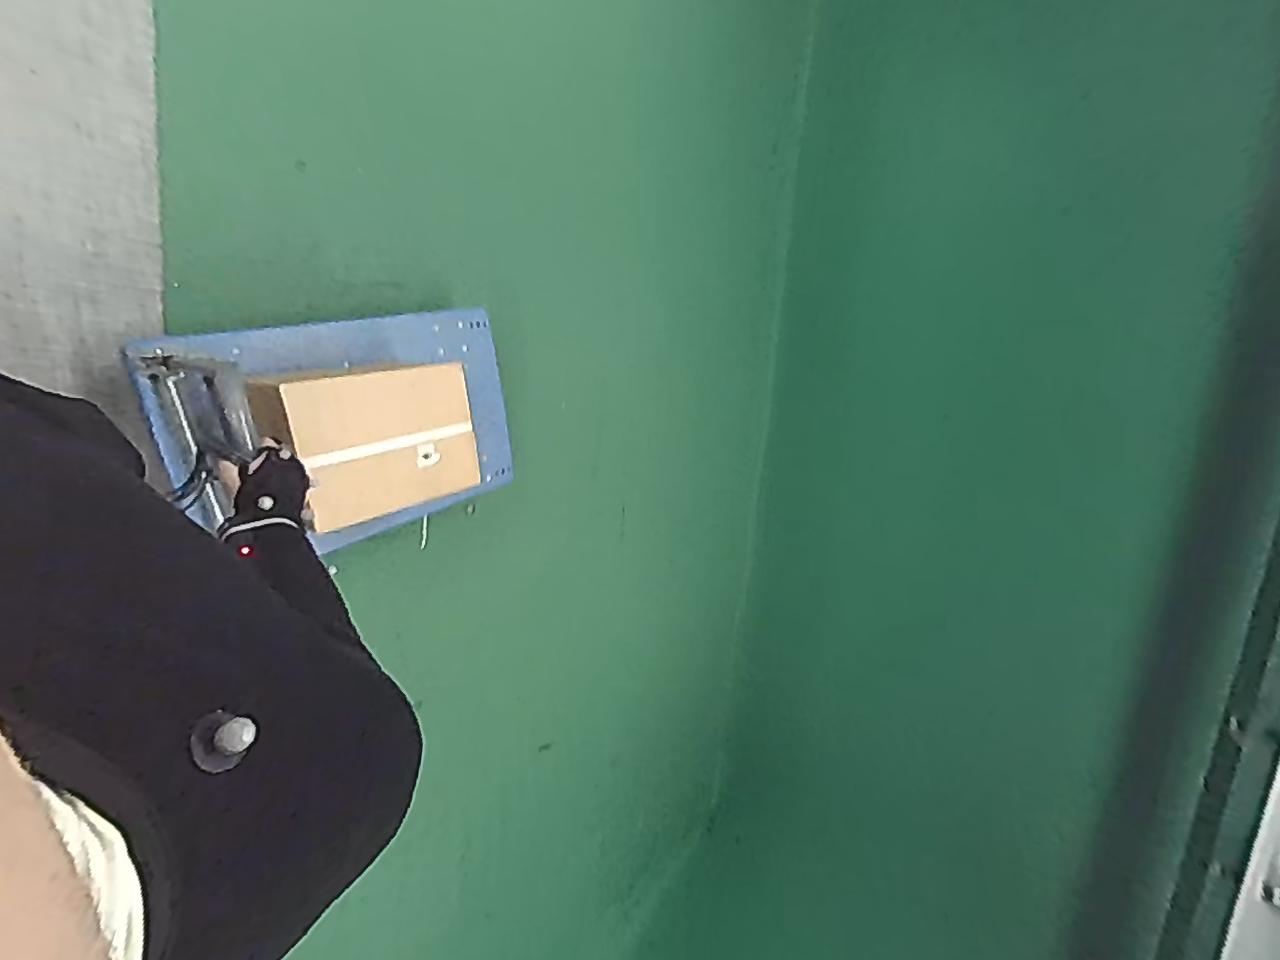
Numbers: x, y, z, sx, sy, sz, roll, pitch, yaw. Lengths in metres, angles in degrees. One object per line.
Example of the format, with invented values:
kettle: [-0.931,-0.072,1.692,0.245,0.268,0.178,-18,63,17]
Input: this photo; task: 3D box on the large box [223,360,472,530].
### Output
large box: [-0.685,-0.113,1.303,0.408,0.320,0.320,-23,117,-48]
